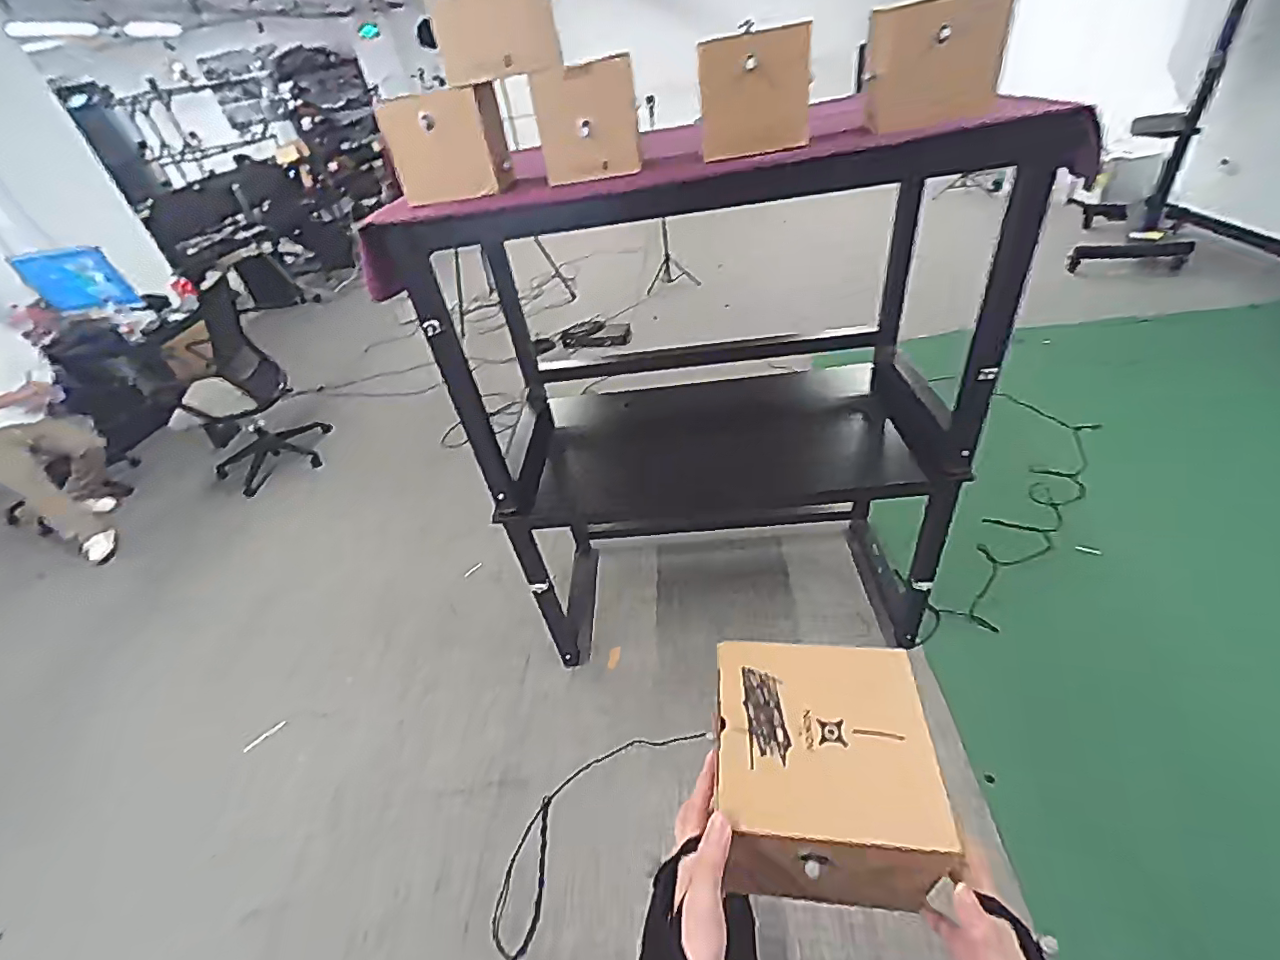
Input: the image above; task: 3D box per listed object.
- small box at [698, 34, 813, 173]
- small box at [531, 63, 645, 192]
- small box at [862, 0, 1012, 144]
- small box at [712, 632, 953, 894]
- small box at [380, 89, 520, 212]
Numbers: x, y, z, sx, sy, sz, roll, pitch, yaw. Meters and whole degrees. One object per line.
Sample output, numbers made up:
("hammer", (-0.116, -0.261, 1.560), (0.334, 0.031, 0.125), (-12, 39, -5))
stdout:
("small box", (0.197, -0.659, 0.949), (0.179, 0.176, 0.168), (-6, 37, 8))
("small box", (-0.083, -0.636, 0.982), (0.168, 0.176, 0.179), (-5, 38, 6))
("small box", (0.480, -0.681, 0.908), (0.179, 0.176, 0.168), (-3, 40, 10))
("small box", (0.161, 0.264, 0.512), (0.179, 0.176, 0.168), (-1, 39, 9))
("small box", (-0.342, -0.615, 1.013), (0.179, 0.176, 0.168), (-5, 38, 5))
